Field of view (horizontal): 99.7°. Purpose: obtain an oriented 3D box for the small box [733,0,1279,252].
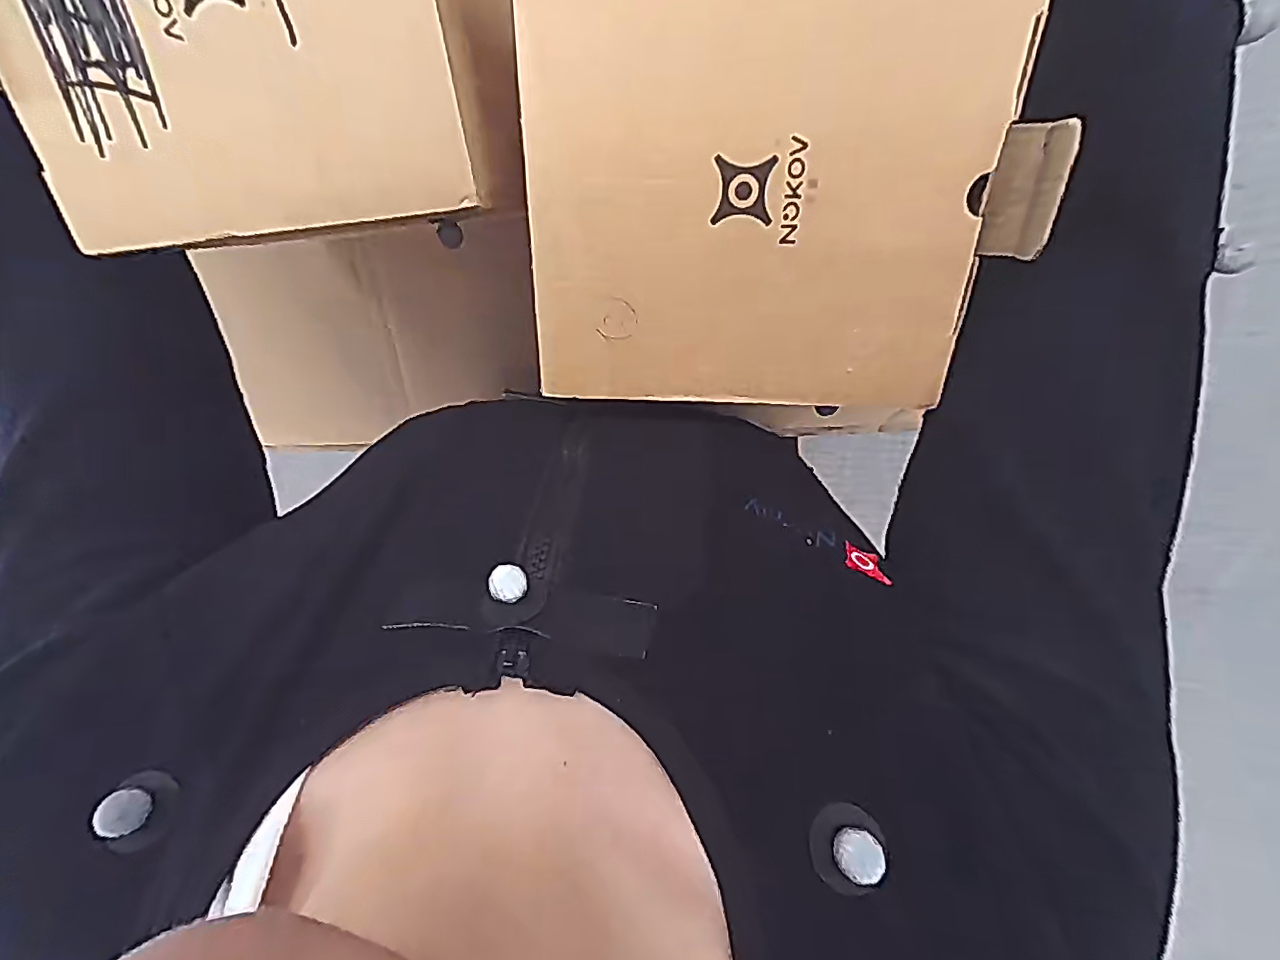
[{"bbox_3d":[0.146,-0.208,0.219,0.179,0.176,0.168,14,124,-3],"label":"small box"}]
